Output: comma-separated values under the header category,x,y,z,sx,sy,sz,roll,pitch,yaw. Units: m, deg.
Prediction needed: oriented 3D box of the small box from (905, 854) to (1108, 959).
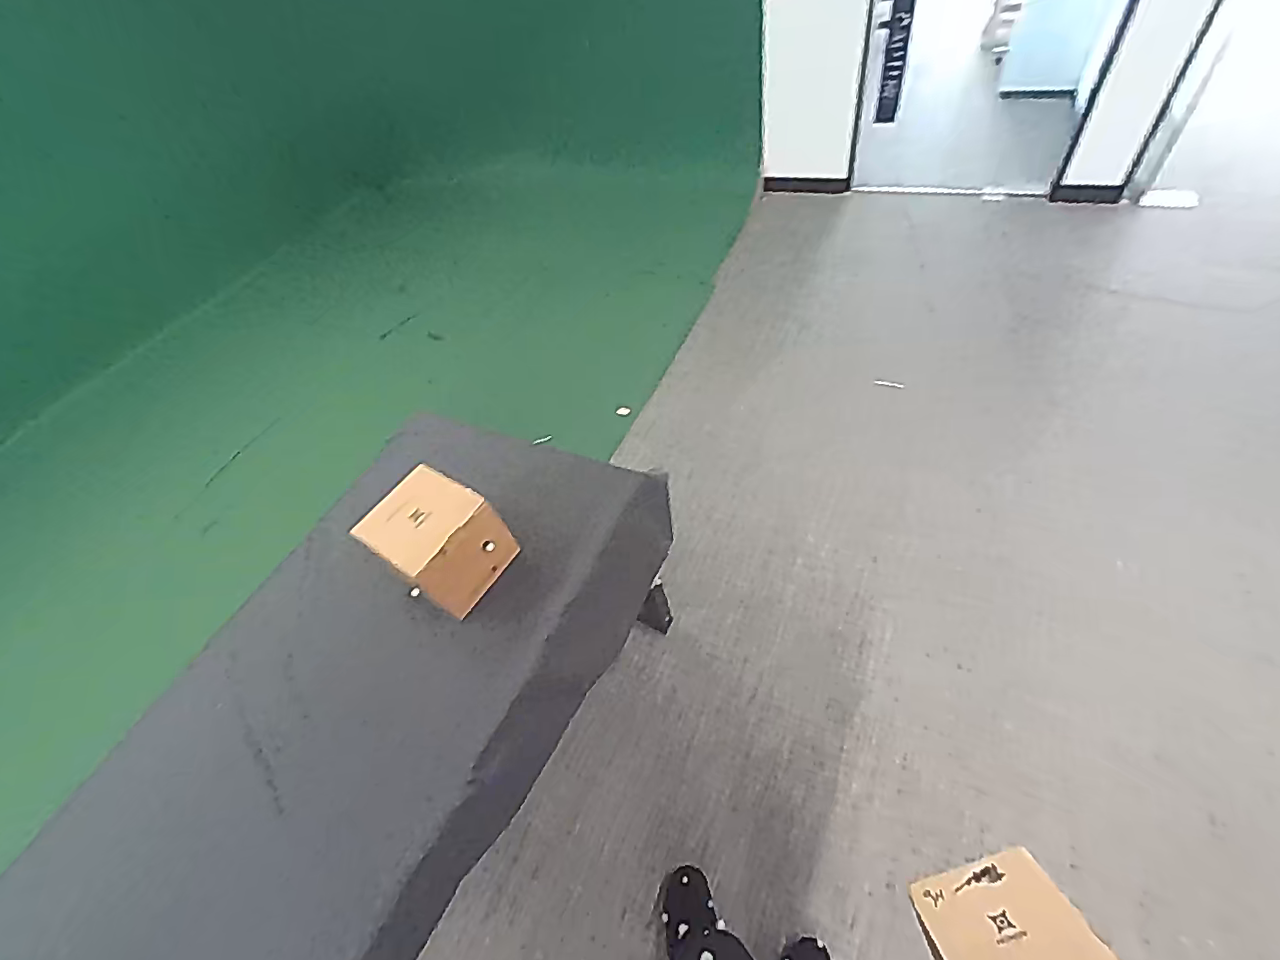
category,x,y,z,sx,sy,sz,roll,pitch,yaw
small box,0.452,0.601,0.634,0.168,0.176,0.179,-21,9,5

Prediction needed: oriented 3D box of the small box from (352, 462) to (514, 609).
category,x,y,z,sx,sy,sz,roll,pitch,yaw
small box,-0.353,0.103,0.954,0.179,0.176,0.168,24,59,28
